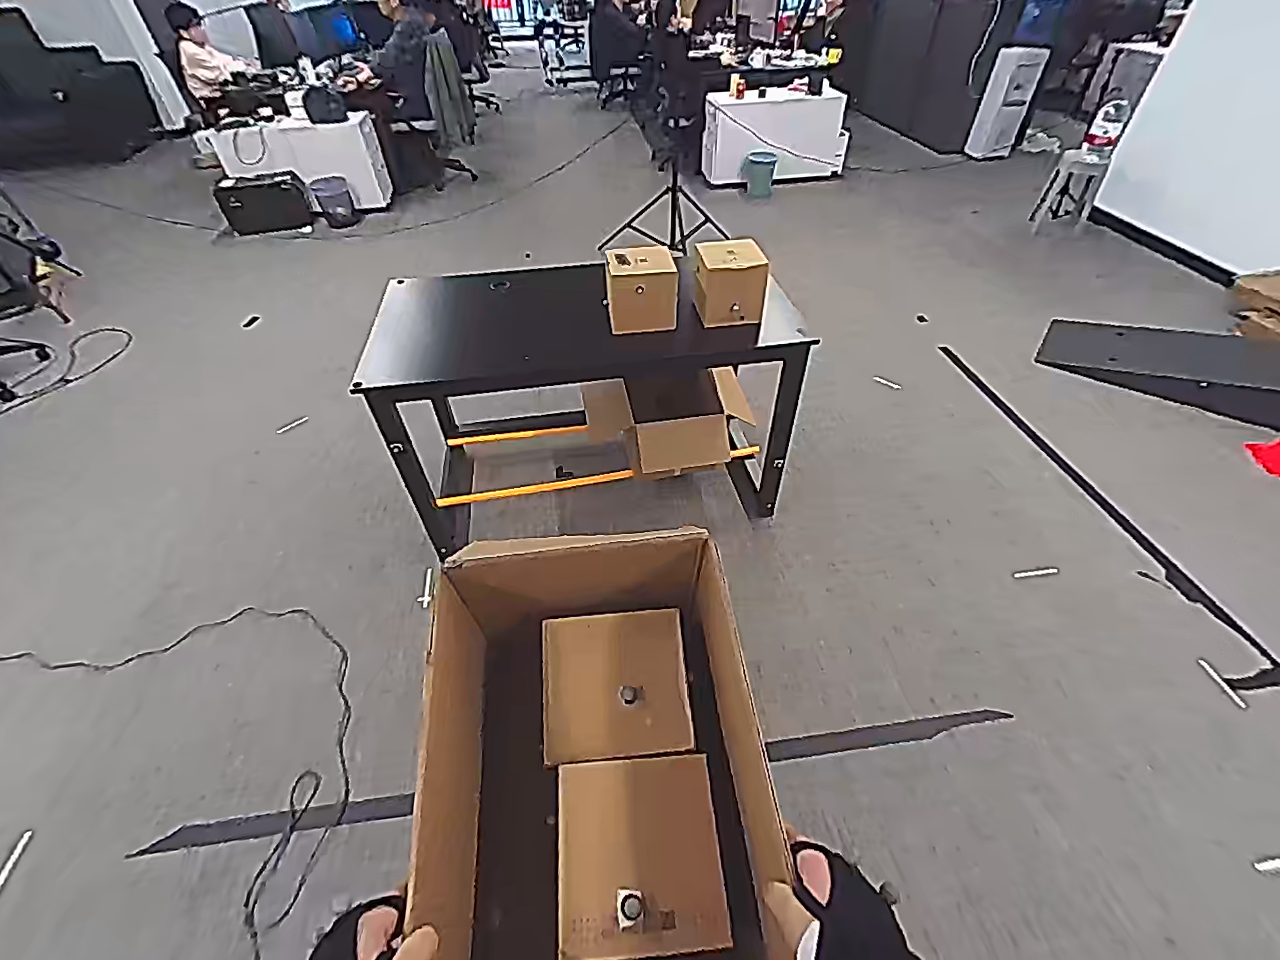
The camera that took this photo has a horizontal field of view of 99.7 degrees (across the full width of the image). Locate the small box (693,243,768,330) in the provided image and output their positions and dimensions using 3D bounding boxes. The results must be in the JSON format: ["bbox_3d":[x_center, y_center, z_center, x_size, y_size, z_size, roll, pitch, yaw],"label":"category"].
[{"bbox_3d":[0.244,-0.538,1.505,0.168,0.176,0.179,-7,44,-3],"label":"small box"}]

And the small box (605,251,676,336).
[{"bbox_3d":[0.001,-0.510,1.487,0.179,0.176,0.168,-6,45,-5],"label":"small box"}]
